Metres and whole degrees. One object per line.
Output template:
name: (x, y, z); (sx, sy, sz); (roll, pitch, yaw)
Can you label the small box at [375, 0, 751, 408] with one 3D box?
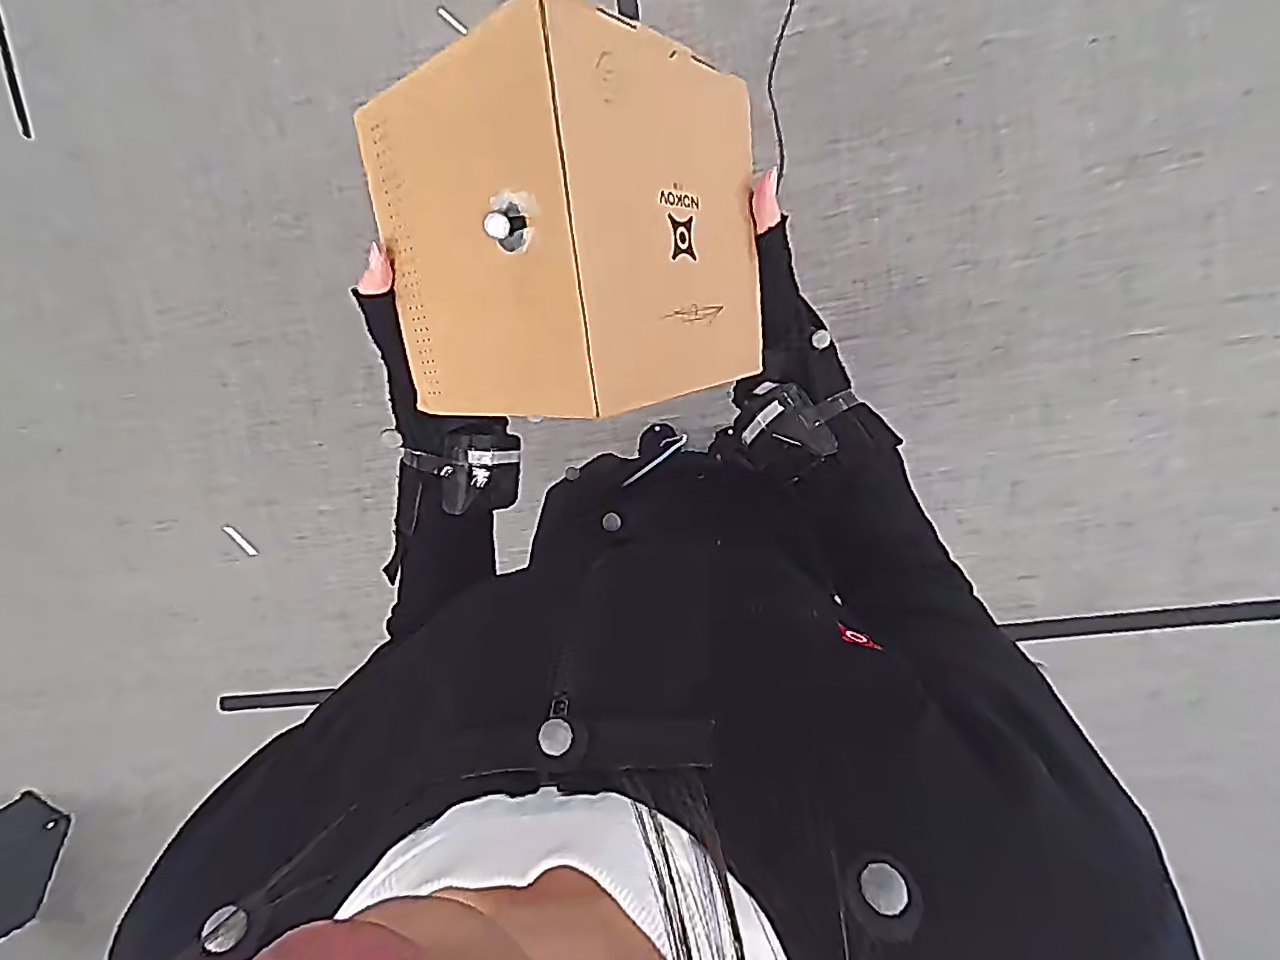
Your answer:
small box: (-0.044, -0.145, 0.354); (0.176, 0.168, 0.179); (7, 111, 39)
